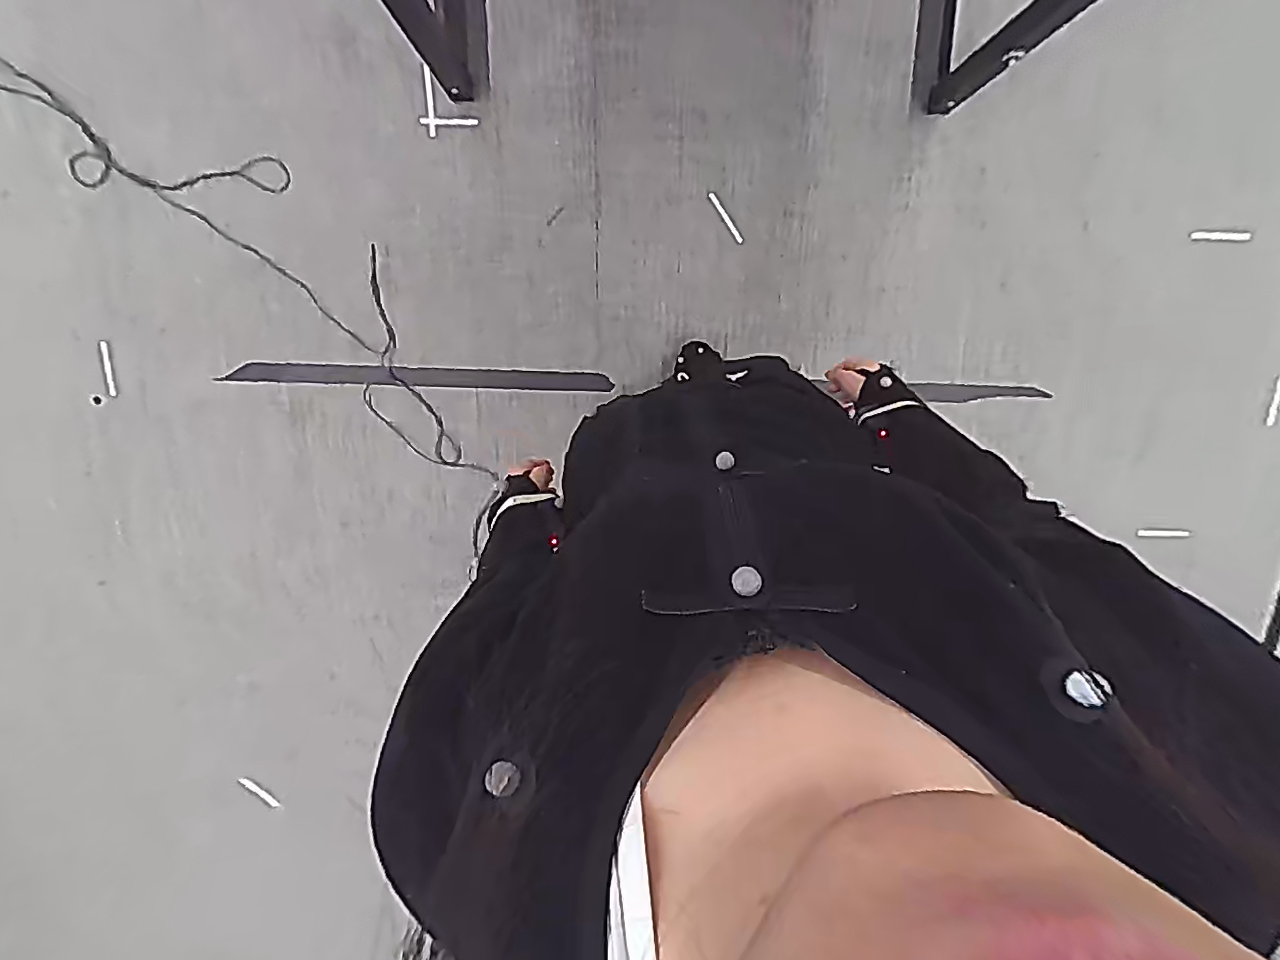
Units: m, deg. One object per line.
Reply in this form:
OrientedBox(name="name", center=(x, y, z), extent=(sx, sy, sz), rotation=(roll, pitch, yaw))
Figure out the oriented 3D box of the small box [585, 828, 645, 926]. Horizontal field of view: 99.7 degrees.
OrientedBox(name="small box", center=(-0.074, 1.209, 1.653), extent=(0.168, 0.176, 0.179), rotation=(-5, 104, -1))
